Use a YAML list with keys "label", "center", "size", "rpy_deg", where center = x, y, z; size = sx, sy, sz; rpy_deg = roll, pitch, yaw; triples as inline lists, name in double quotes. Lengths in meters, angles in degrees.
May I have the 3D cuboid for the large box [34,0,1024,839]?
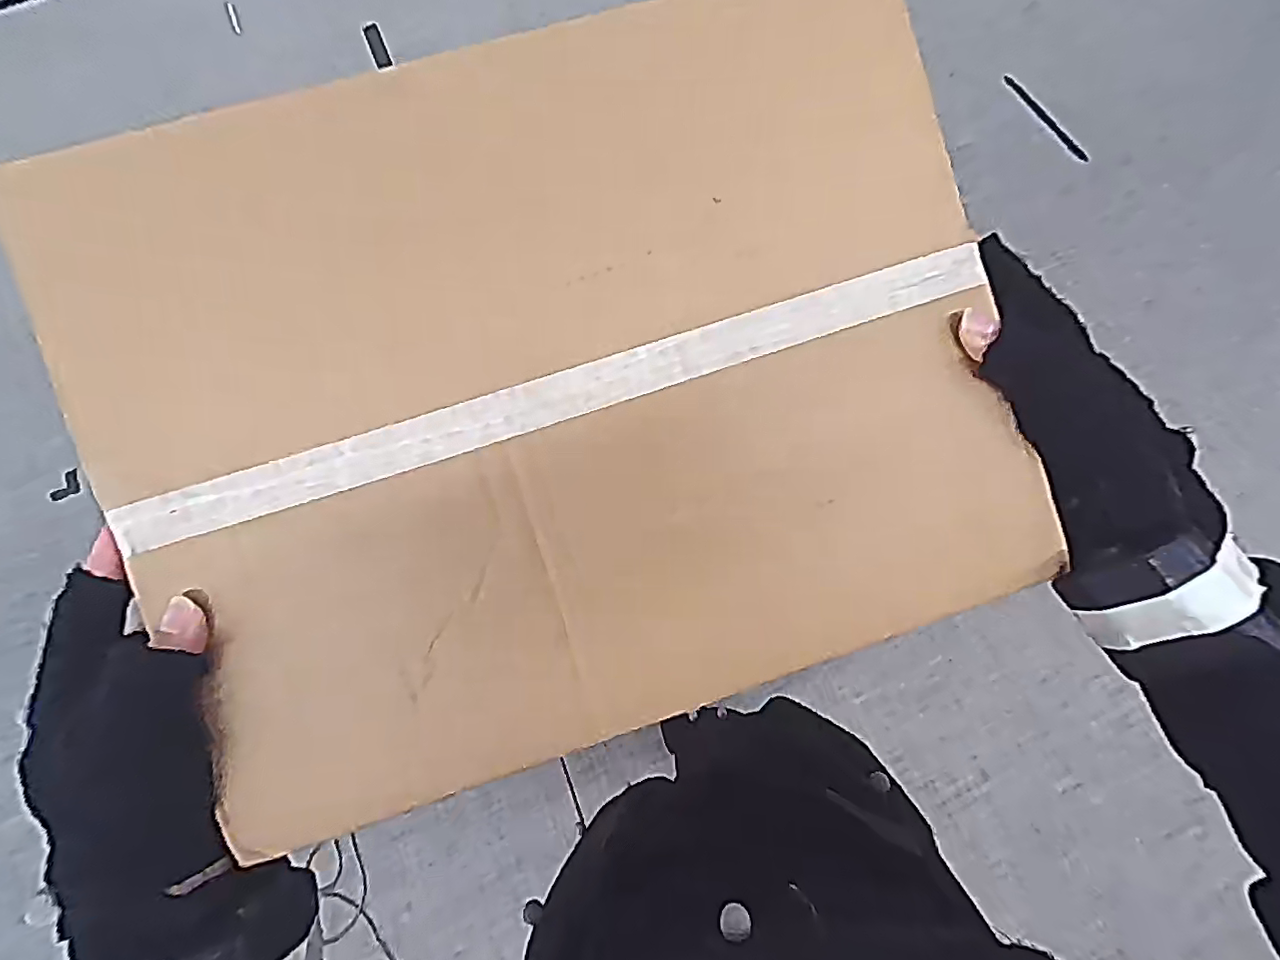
- label: "large box"
  center: [-0.043, -0.043, 0.405]
  size: [0.408, 0.320, 0.320]
  rpy_deg: [-18, 92, -4]
